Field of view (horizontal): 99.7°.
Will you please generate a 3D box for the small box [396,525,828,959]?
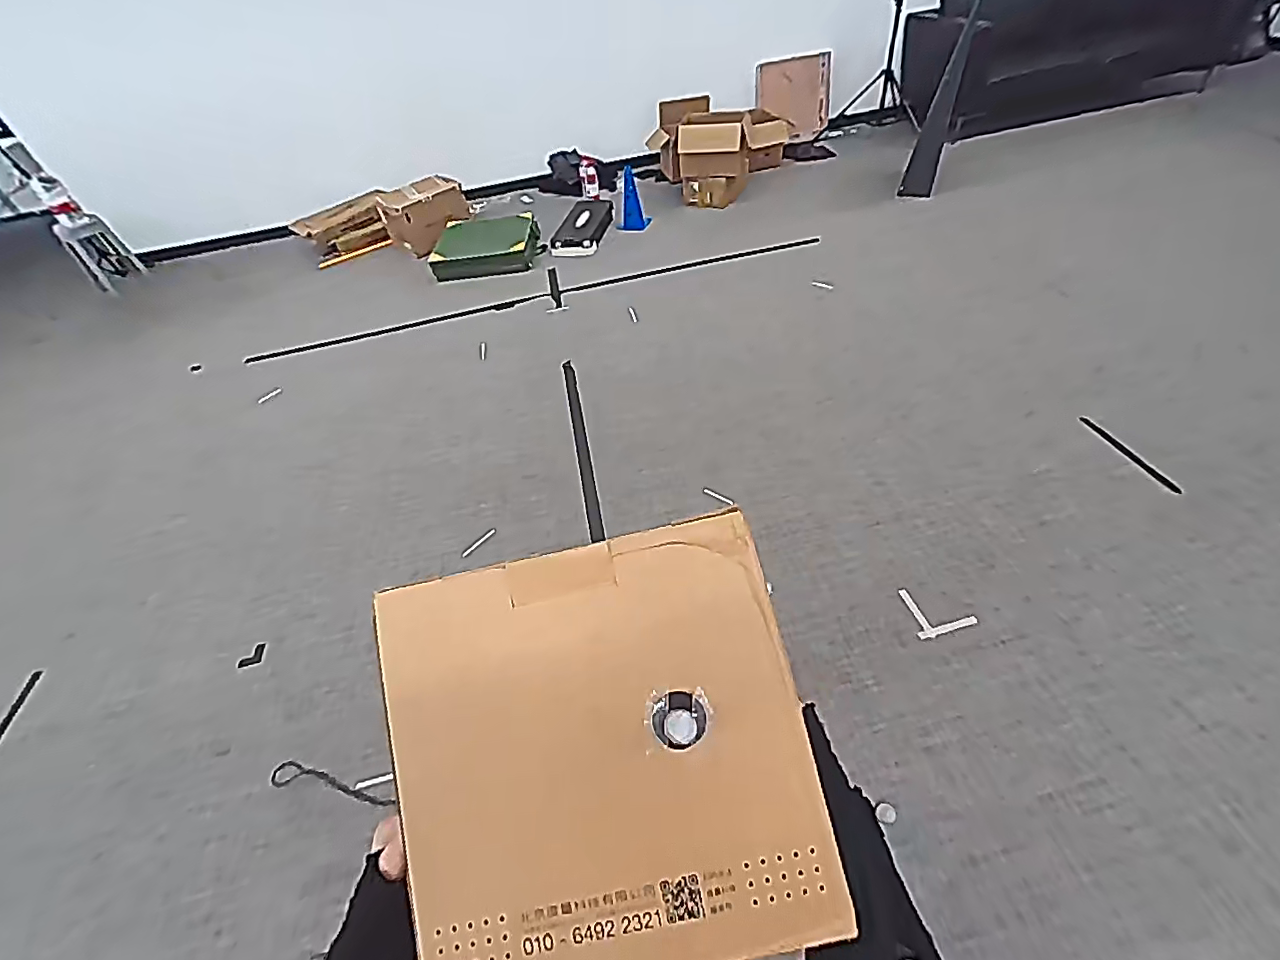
[{"bbox_3d":[-0.009,0.132,0.313,0.168,0.179,0.176,-13,80,2],"label":"small box"}]
